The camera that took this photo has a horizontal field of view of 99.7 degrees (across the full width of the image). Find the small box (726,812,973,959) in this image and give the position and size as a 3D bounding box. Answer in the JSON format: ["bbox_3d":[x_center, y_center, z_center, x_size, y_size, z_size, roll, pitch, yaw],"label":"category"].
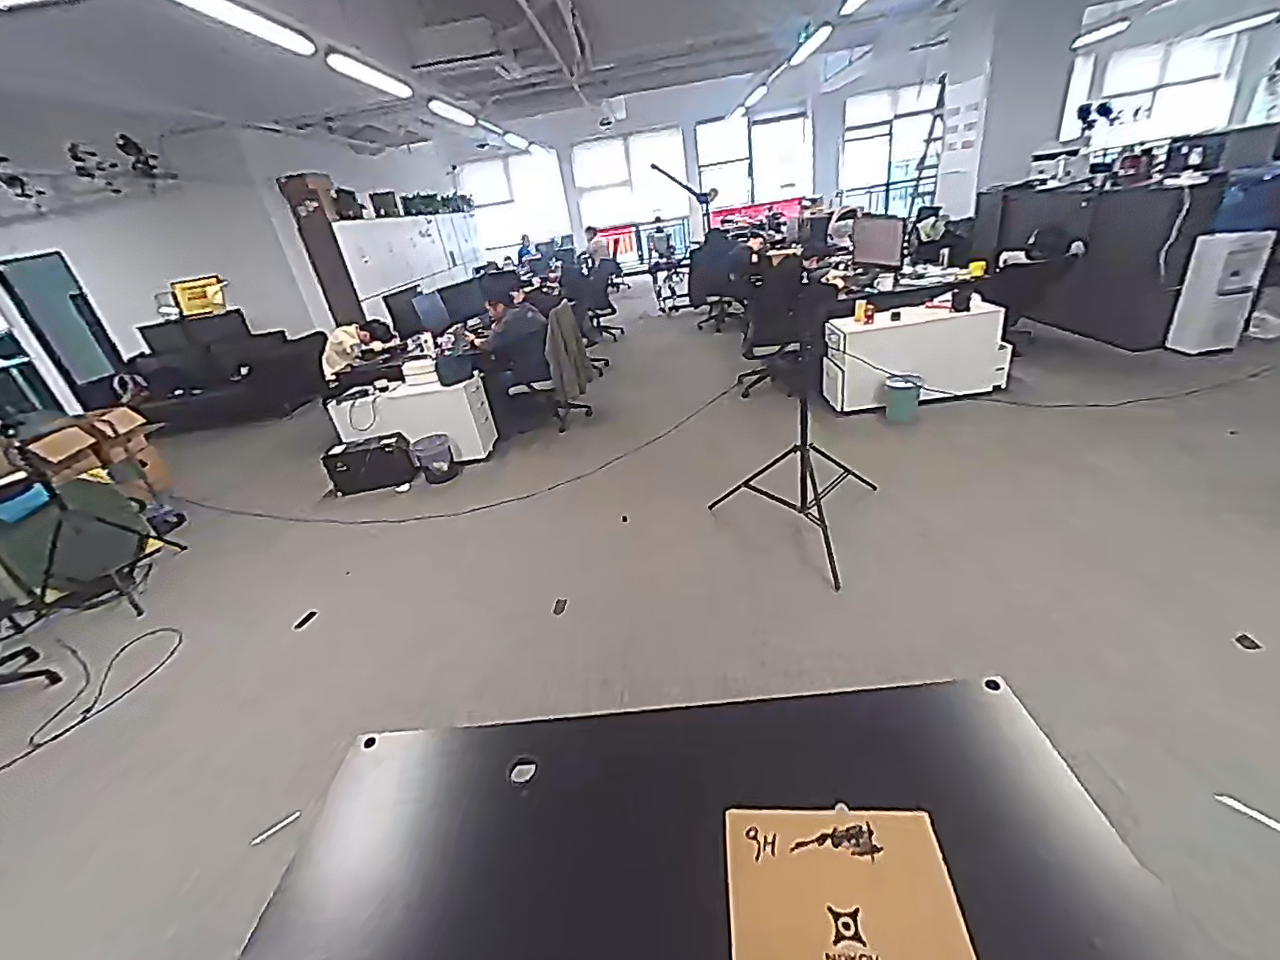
[{"bbox_3d":[0.160,0.394,0.430,0.168,0.176,0.179,-5,36,9],"label":"small box"}]
